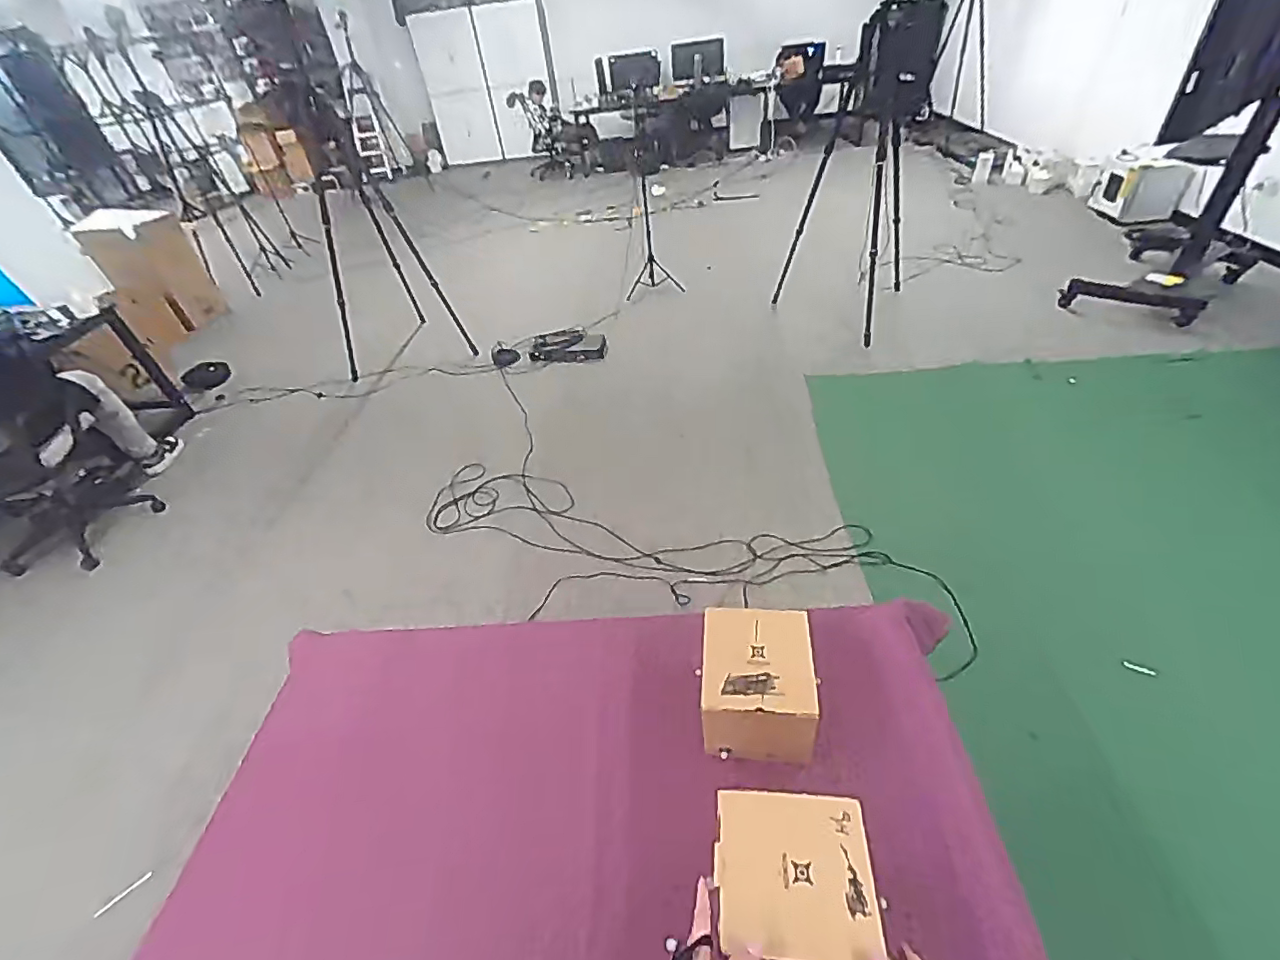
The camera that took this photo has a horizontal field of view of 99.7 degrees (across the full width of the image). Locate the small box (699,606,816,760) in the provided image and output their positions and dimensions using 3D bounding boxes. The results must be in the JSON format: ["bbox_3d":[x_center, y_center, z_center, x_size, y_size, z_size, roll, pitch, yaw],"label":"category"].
[{"bbox_3d":[0.186,0.327,0.871,0.168,0.176,0.179,0,41,10],"label":"small box"}]

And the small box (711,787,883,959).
[{"bbox_3d":[0.181,0.505,0.666,0.179,0.176,0.168,-1,40,10],"label":"small box"}]
